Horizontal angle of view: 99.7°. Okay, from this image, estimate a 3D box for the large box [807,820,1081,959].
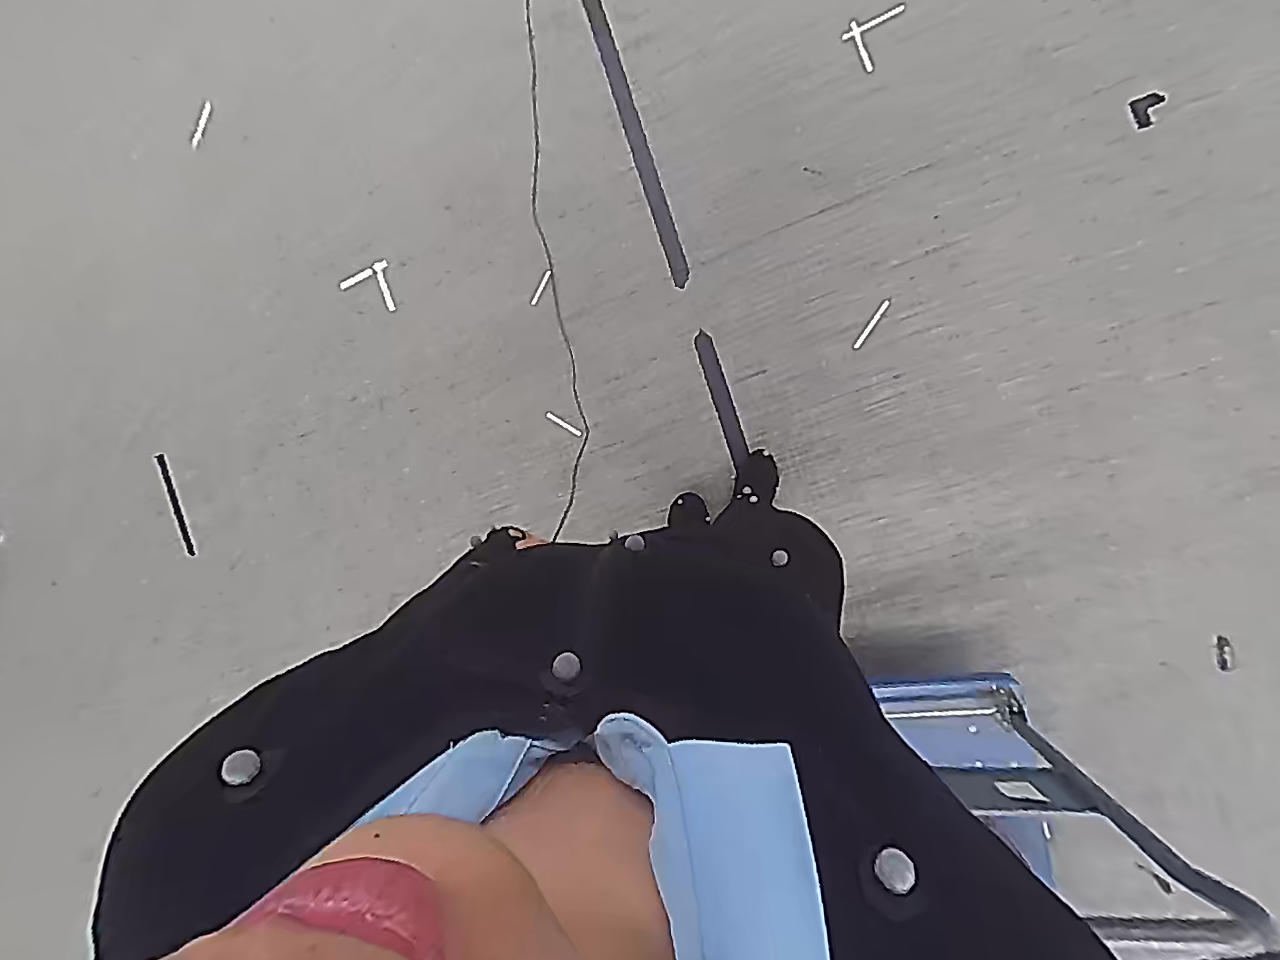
[{"bbox_3d":[0.572,0.918,1.069,0.408,0.320,0.320,-7,90,11],"label":"large box"}]
